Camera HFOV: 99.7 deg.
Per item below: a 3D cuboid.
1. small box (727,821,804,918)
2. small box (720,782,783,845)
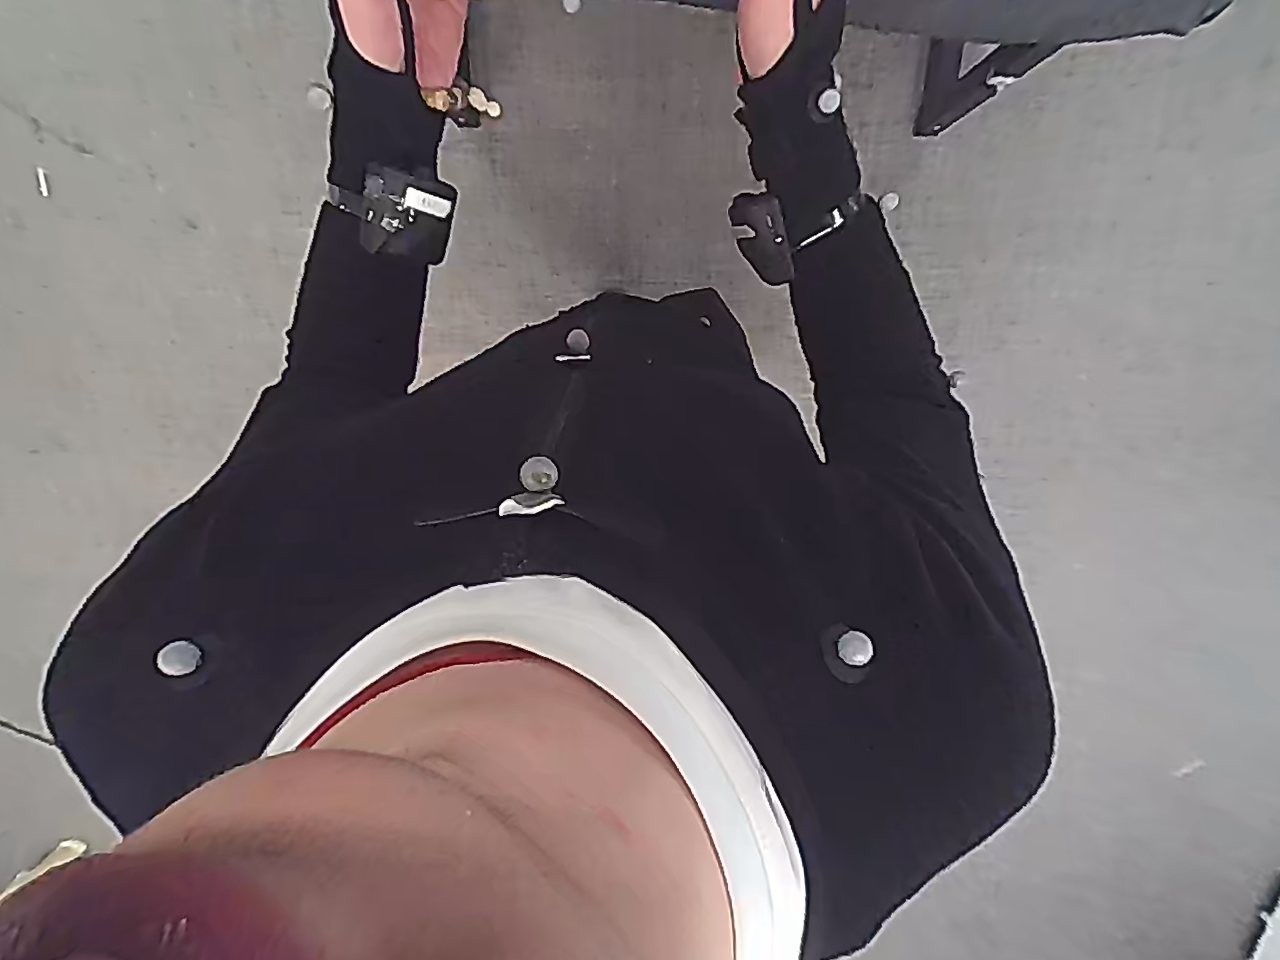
[{"bbox_3d":[0.378,1.193,1.669,0.179,0.176,0.168,14,108,-4],"label":"small box"},{"bbox_3d":[0.384,1.156,1.819,0.179,0.176,0.168,-20,106,6],"label":"small box"}]
